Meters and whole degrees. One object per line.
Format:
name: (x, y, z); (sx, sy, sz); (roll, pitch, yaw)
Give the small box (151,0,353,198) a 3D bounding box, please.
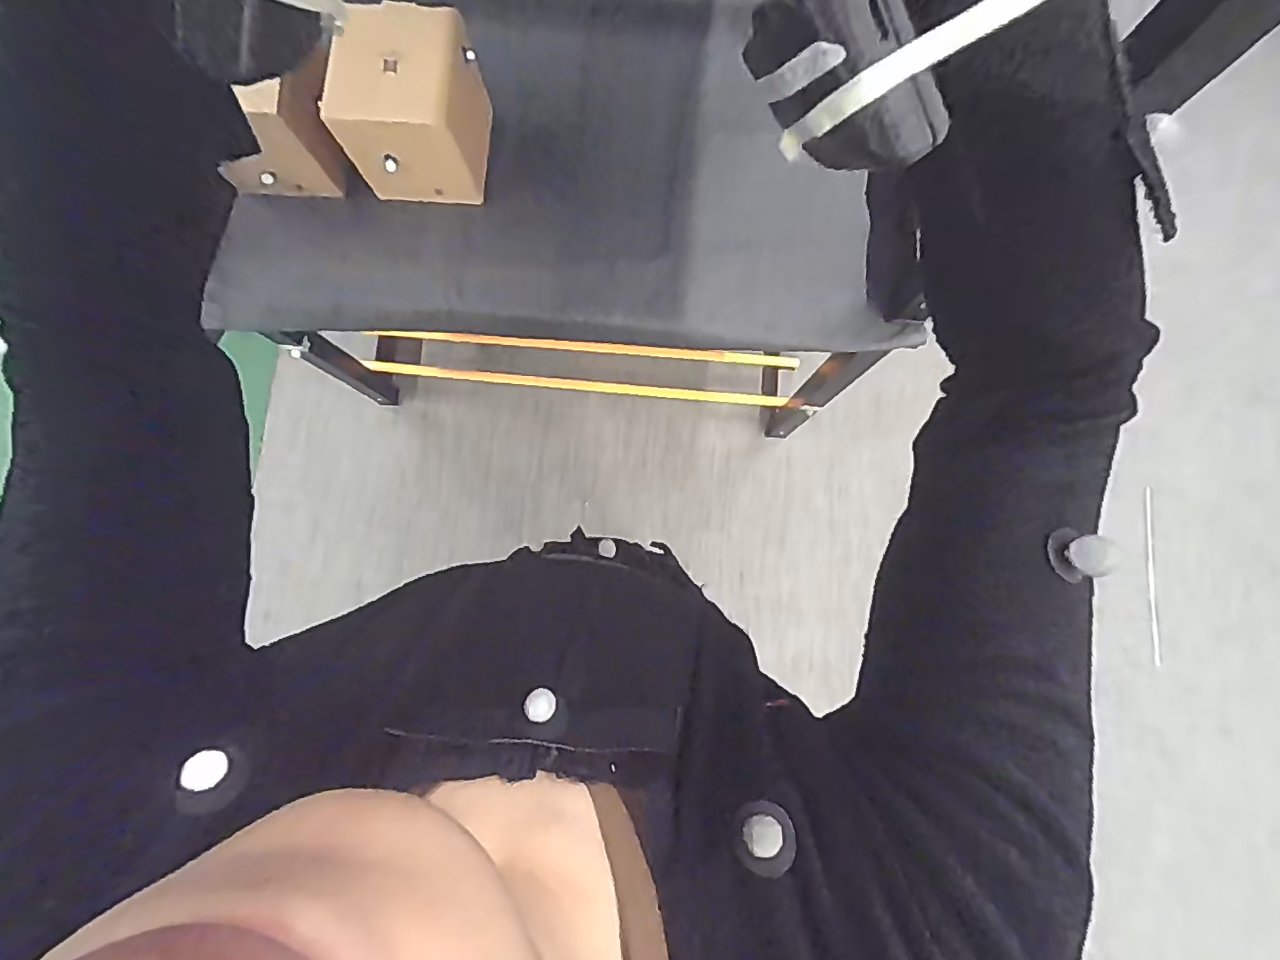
small box: (-0.544, -0.547, 0.786); (0.168, 0.176, 0.179); (2, 82, 0)
